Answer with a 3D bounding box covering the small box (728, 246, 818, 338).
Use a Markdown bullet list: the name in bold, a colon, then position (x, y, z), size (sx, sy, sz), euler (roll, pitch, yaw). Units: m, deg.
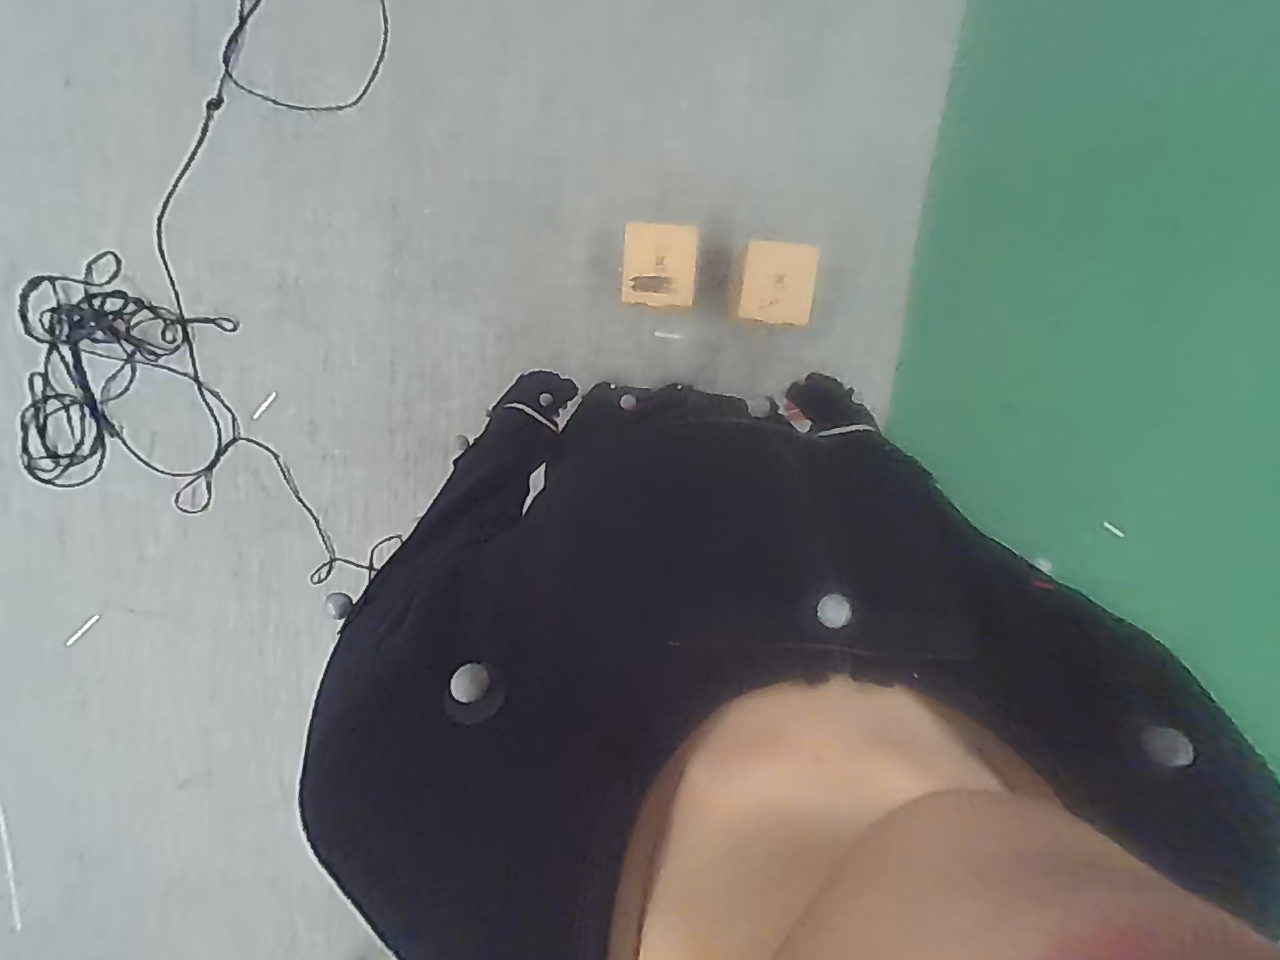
- **small box**: position (0.319, -0.454, 1.329), size (0.168, 0.176, 0.179), euler (7, 100, -1)
